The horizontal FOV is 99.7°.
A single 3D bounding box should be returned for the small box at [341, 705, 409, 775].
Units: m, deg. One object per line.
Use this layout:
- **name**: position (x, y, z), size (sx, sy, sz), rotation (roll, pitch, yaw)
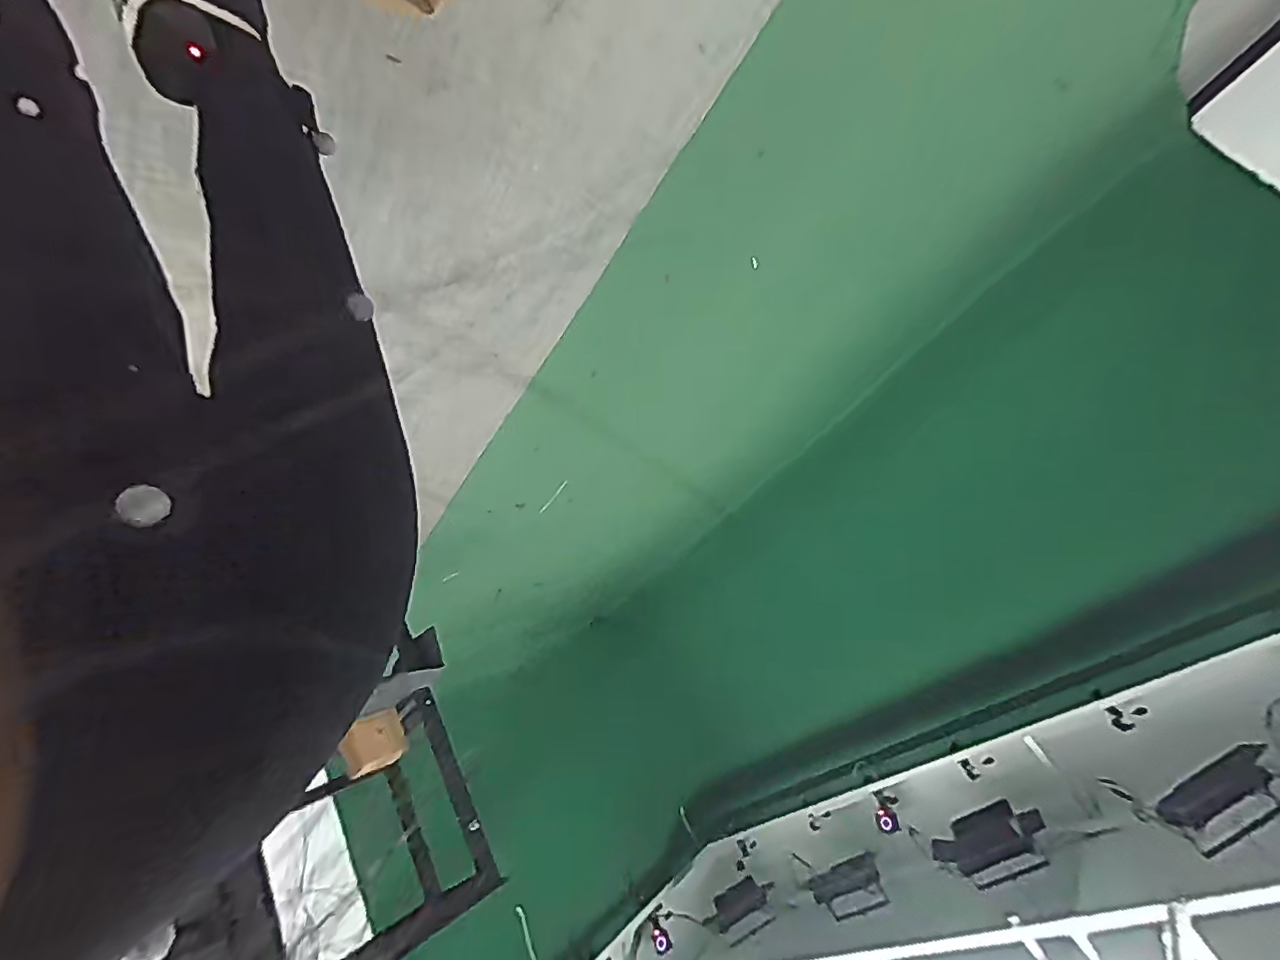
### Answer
- **small box**: position (-1.019, 0.987, 2.070), size (0.168, 0.176, 0.179), rotation (-3, 145, -50)
